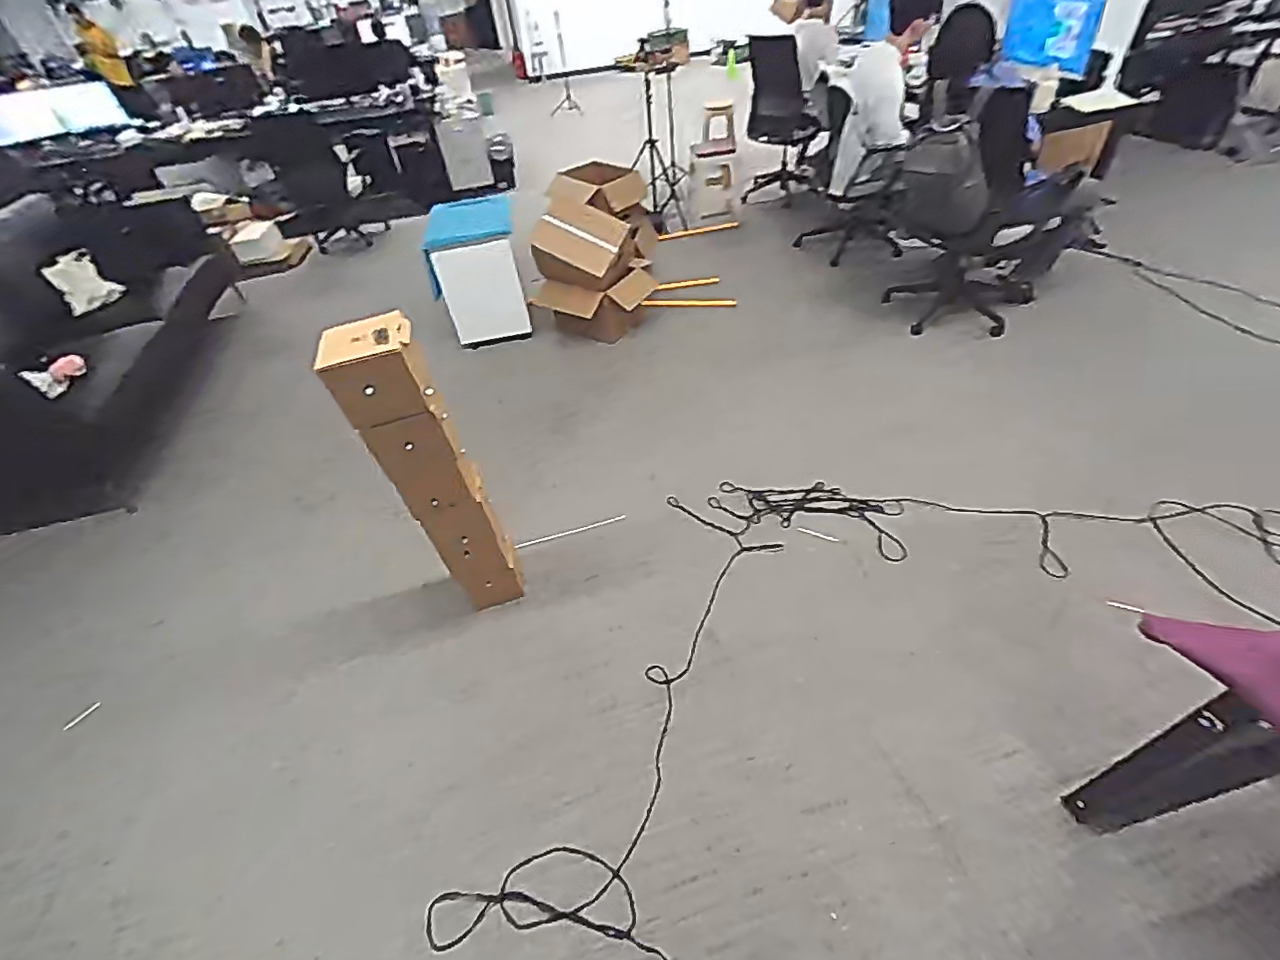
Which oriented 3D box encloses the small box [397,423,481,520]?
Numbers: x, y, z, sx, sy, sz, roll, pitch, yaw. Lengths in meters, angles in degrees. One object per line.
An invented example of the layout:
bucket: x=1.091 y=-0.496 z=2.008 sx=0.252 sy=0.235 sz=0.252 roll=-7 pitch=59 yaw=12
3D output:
small box: x=-0.541 y=-0.023 z=1.465 sx=0.168 sy=0.176 sz=0.179 roll=-17 pitch=46 yaw=-8

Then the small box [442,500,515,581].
small box: x=-0.509 y=0.195 z=1.705 sx=0.179 sy=0.176 sz=0.168 roll=-15 pitch=46 yaw=-7

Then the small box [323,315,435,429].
small box: x=-0.578 y=-0.243 z=1.224 sx=0.179 sy=0.176 sz=0.168 roll=-16 pitch=46 yaw=-5

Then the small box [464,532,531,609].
small box: x=-0.481 y=0.309 z=1.820 sx=0.179 sy=0.176 sz=0.168 roll=-15 pitch=44 yaw=-7

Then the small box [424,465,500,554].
small box: x=-0.518 y=0.088 z=1.582 sx=0.179 sy=0.176 sz=0.168 roll=-16 pitch=45 yaw=-8
